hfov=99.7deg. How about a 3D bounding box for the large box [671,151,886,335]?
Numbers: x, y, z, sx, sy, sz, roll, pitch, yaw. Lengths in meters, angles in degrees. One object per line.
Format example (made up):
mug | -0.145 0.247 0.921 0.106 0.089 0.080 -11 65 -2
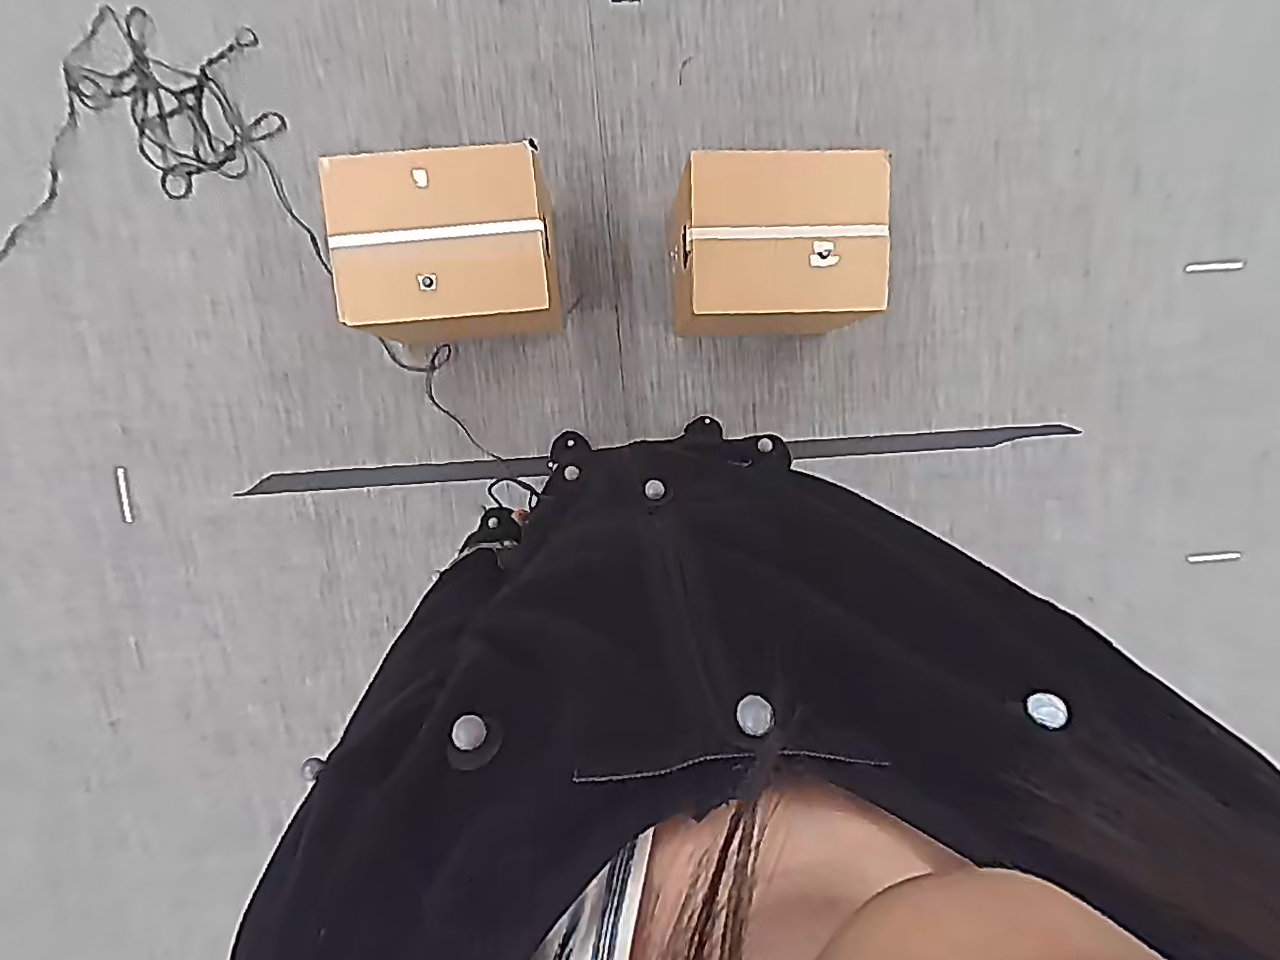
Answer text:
large box | 0.291 -0.517 1.238 0.408 0.320 0.320 -2 97 -4
